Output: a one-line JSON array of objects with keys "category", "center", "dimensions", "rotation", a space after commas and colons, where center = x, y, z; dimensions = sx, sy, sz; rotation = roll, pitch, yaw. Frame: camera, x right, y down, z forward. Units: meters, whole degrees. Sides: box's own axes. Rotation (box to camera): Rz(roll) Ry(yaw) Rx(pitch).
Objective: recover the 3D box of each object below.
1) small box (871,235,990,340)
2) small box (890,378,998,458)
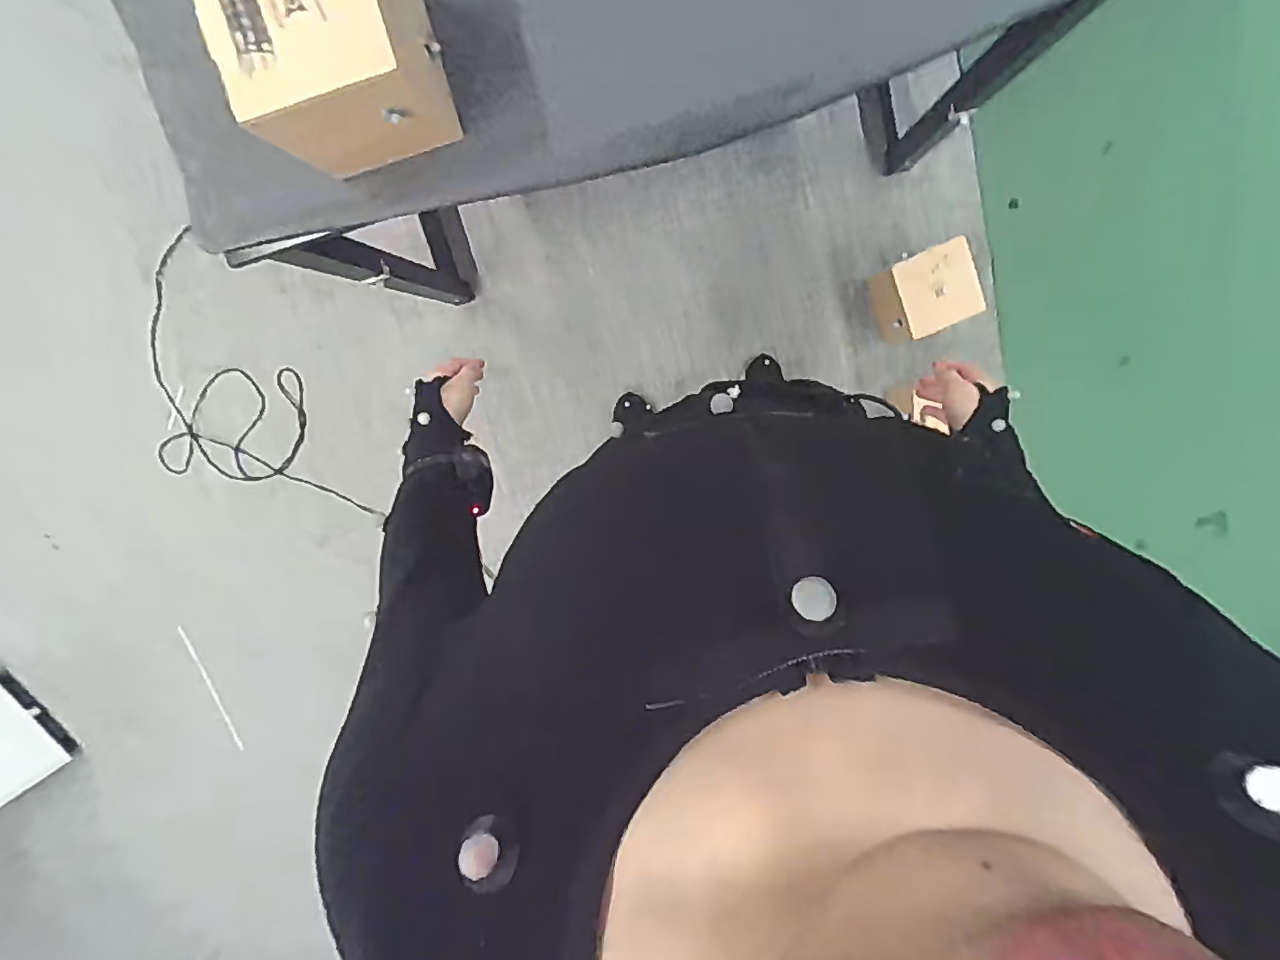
[{"category": "small box", "center": [0.667, -0.439, 1.260], "dimensions": [0.168, 0.176, 0.179], "rotation": [-22, 100, 9]}, {"category": "small box", "center": [0.733, -0.155, 1.317], "dimensions": [0.179, 0.176, 0.168], "rotation": [-5, 103, 6]}]
